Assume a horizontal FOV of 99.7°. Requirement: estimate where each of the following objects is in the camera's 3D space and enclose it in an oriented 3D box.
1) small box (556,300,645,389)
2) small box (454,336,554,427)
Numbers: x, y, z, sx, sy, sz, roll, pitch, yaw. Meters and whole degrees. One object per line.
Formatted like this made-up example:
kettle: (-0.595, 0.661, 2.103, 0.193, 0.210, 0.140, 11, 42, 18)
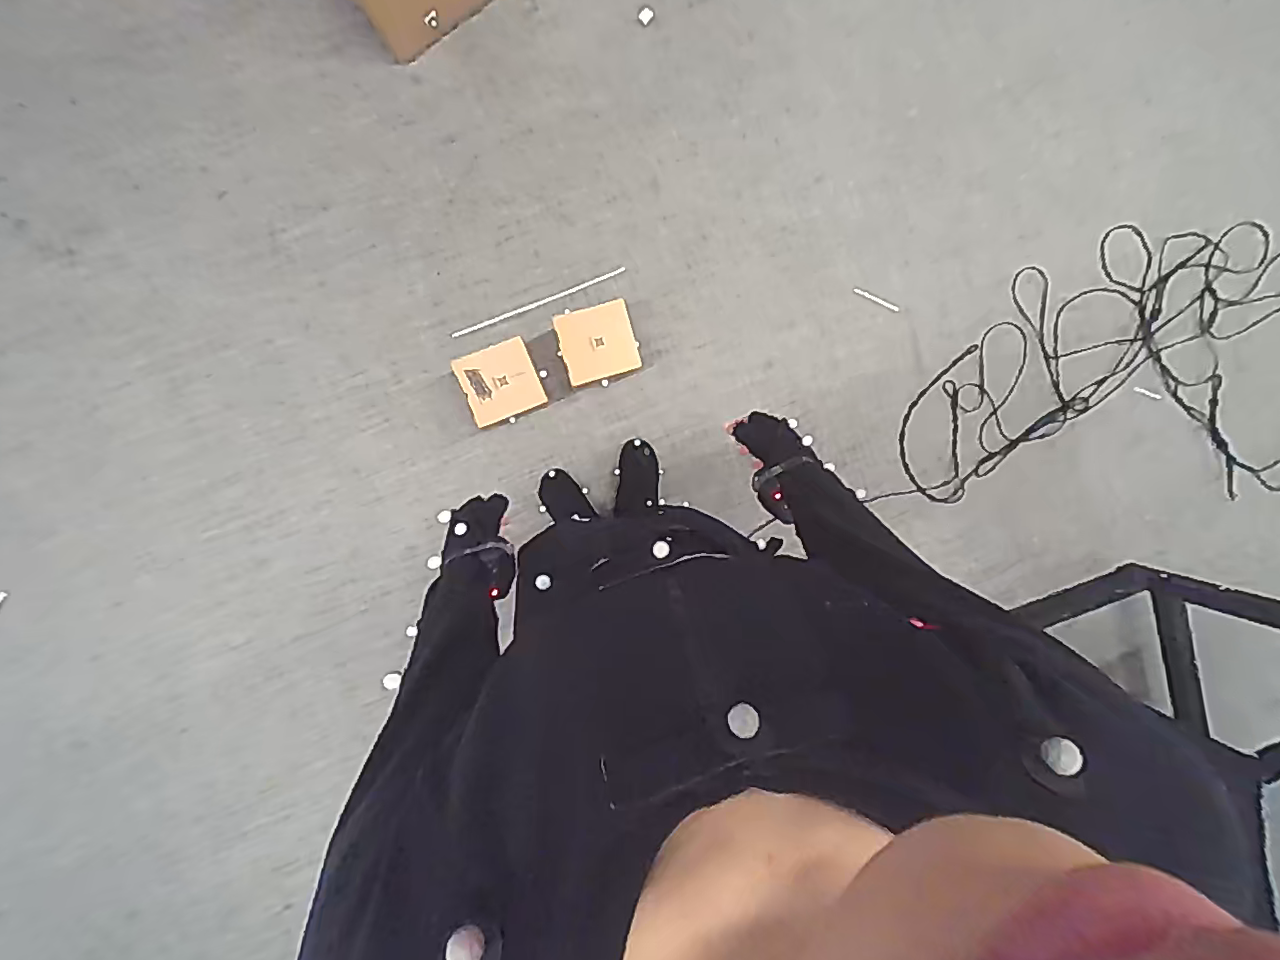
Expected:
small box: (-0.098, -0.329, 1.339, 0.179, 0.176, 0.168, -17, 97, -2)
small box: (-0.324, -0.234, 1.329, 0.179, 0.176, 0.168, -22, 97, -3)
